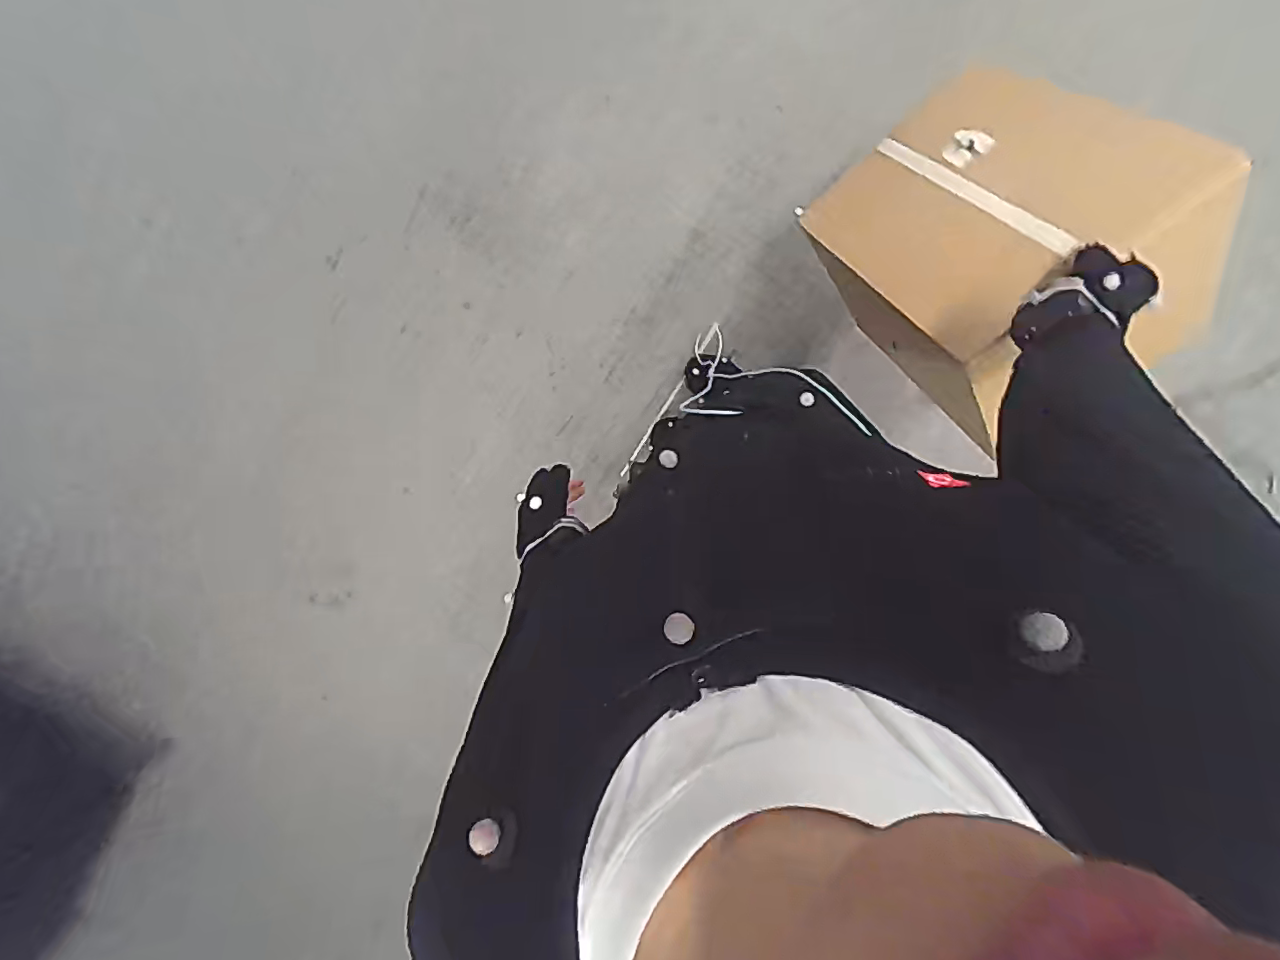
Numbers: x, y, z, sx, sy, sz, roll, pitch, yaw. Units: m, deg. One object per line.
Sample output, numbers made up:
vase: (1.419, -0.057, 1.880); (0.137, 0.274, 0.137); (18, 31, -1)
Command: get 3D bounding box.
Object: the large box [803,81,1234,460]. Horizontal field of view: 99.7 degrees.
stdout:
large box: (0.532, -0.307, 0.828); (0.320, 0.408, 0.320); (-39, 138, 19)
